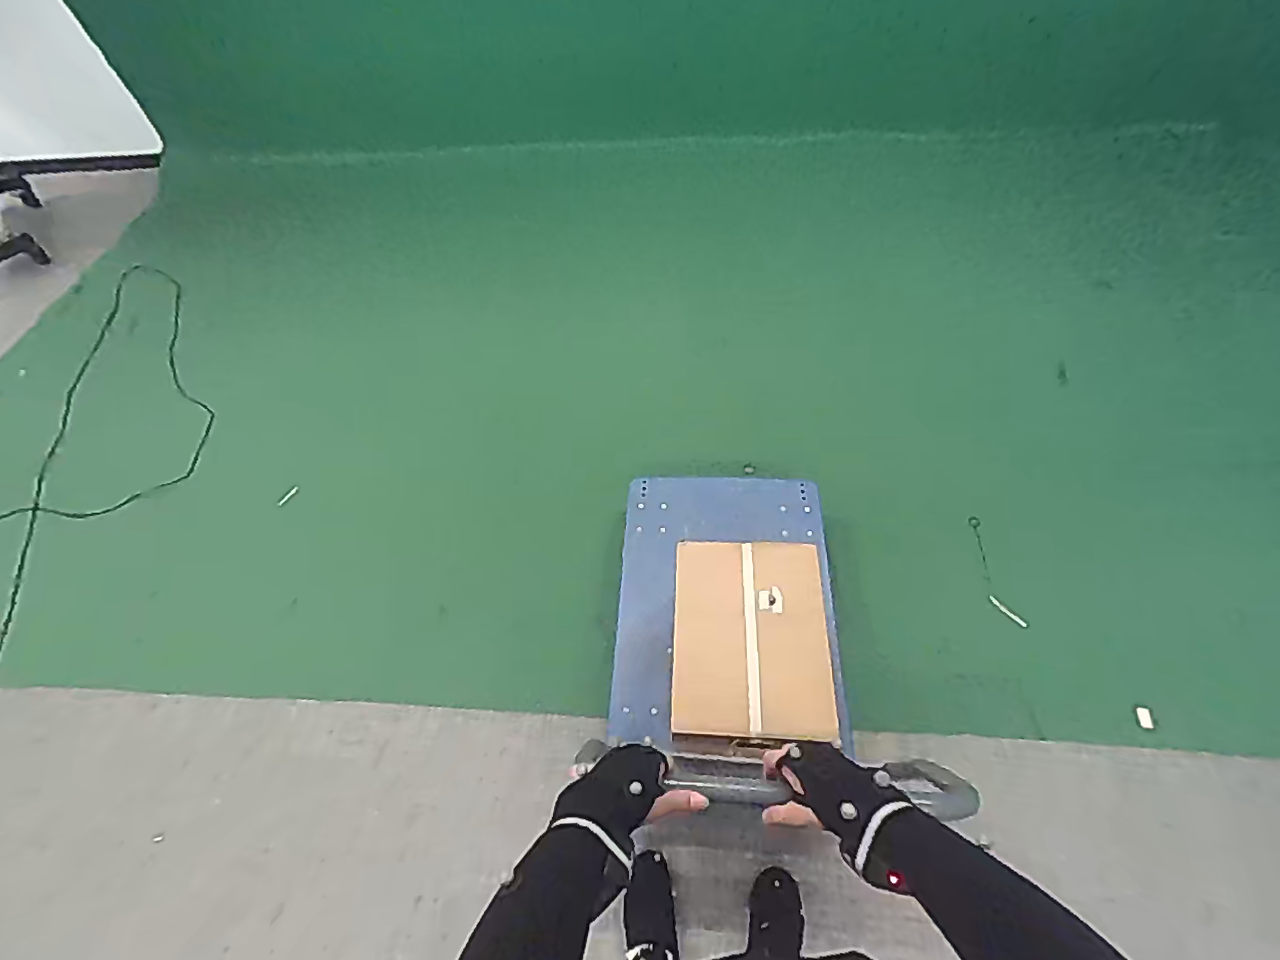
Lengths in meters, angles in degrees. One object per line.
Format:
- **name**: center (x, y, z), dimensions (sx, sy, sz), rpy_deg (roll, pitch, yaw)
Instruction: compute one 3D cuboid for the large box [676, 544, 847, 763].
- **large box**: center (0.245, 0.396, 1.222), dimensions (0.320, 0.320, 0.408), rpy_deg (1, 56, 5)
